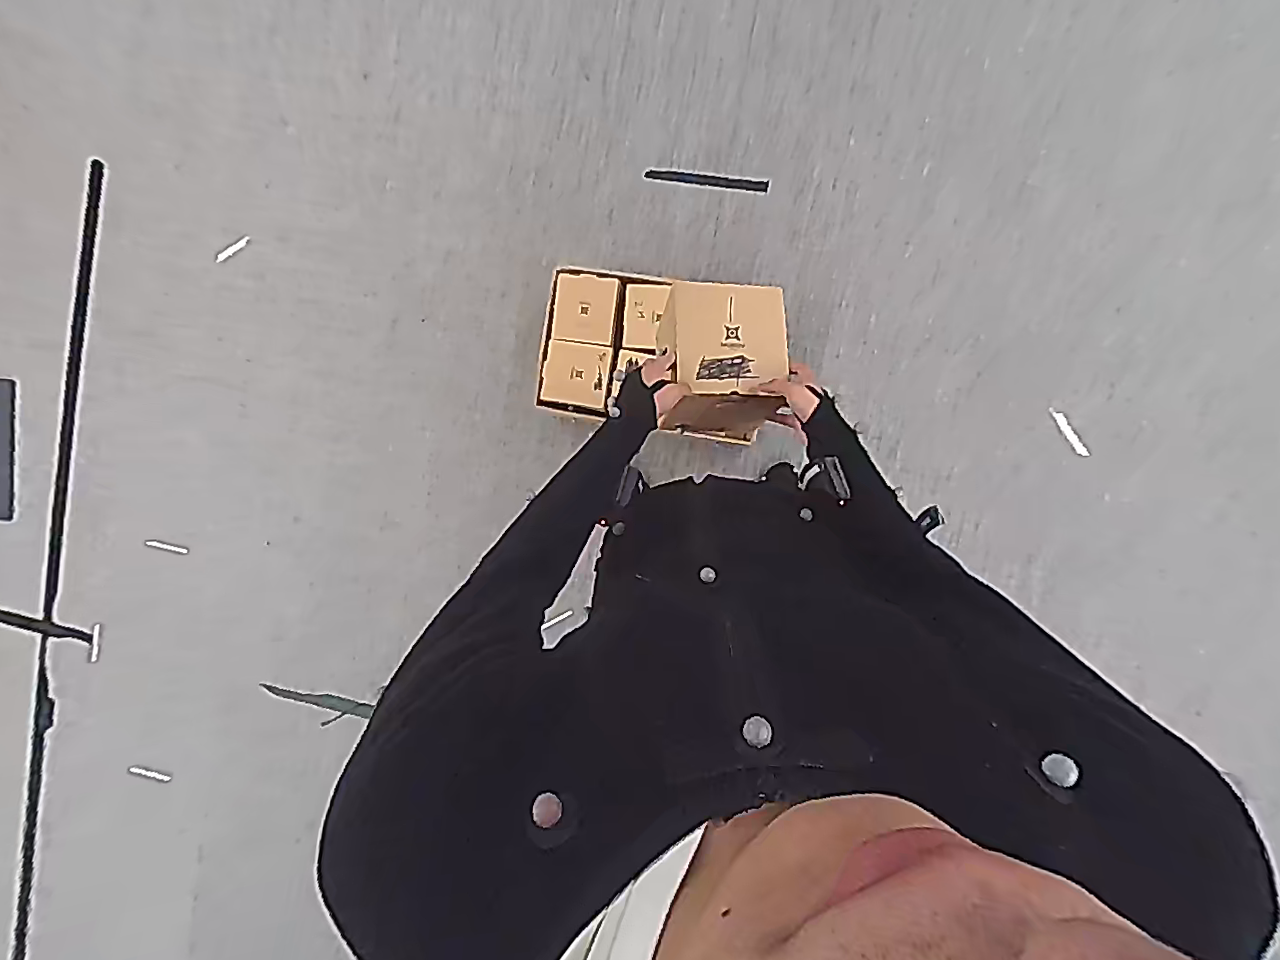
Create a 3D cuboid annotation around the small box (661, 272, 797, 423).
[{"bbox_3d":[0.126,-0.192,0.829,0.168,0.176,0.179,-1,78,-7],"label":"small box"}]
